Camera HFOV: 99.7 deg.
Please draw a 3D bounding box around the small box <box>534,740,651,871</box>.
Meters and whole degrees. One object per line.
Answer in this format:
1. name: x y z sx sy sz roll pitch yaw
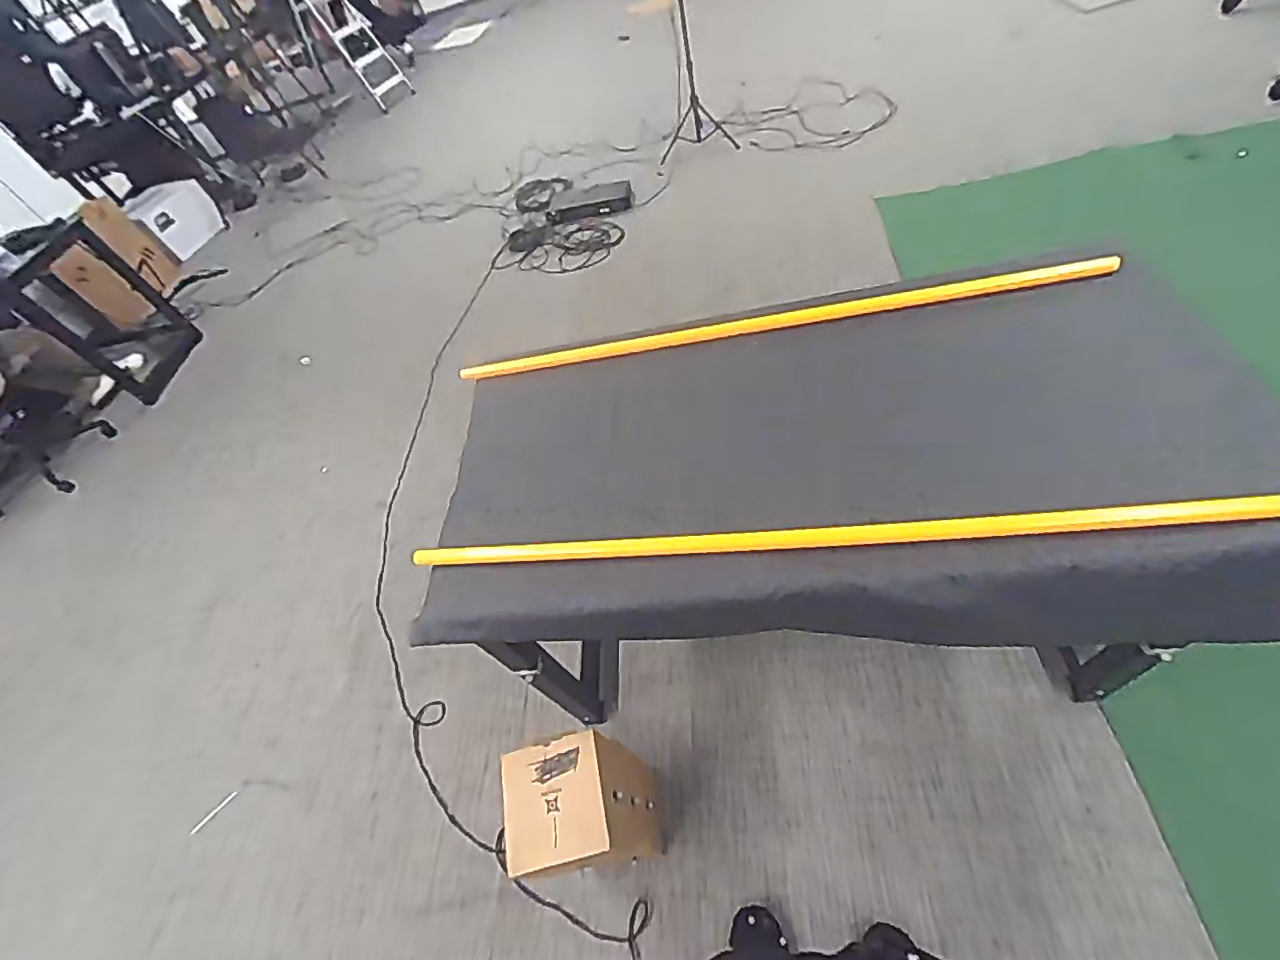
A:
1. small box: -0.090 0.640 1.061 0.168 0.176 0.179 -21 51 3
